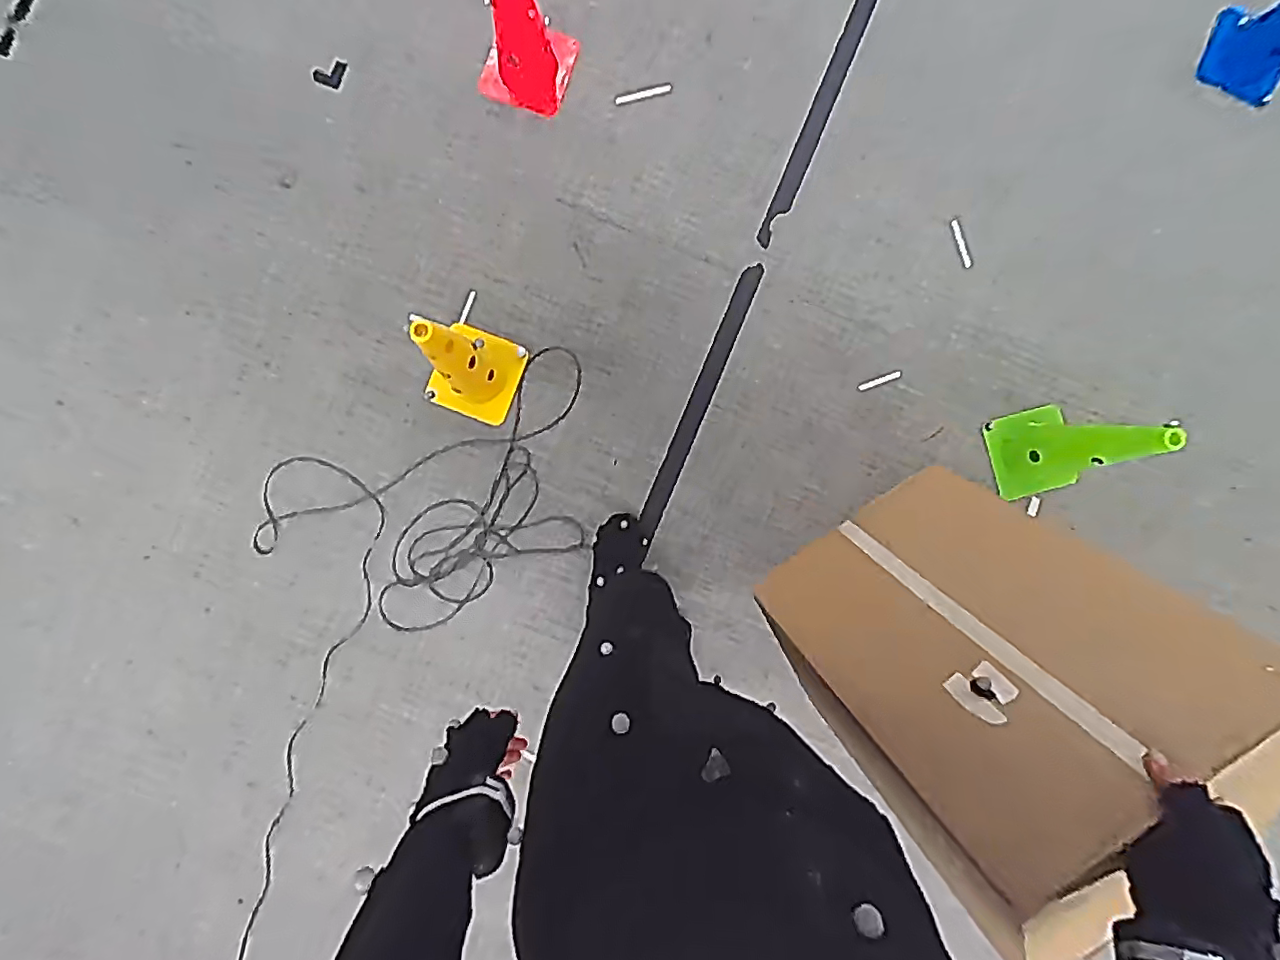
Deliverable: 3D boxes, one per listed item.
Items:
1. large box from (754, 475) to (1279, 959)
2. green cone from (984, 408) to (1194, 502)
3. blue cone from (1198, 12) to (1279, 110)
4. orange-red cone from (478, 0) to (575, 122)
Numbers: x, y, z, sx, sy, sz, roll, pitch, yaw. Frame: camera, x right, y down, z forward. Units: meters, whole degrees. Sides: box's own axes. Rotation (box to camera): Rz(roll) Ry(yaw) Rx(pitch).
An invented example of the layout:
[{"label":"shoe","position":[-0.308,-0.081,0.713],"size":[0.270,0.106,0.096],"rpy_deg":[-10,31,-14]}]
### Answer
[{"label":"large box","position":[0.408,0.264,0.661],"size":[0.320,0.408,0.320],"rpy_deg":[-33,124,-3]},{"label":"green cone","position":[0.958,-0.062,1.143],"size":[0.202,0.368,0.200],"rpy_deg":[-16,90,-3]},{"label":"blue cone","position":[1.513,-1.047,1.193],"size":[0.192,0.380,0.193],"rpy_deg":[25,89,-2]},{"label":"orange-red cone","position":[-0.274,-0.983,1.138],"size":[0.198,0.360,0.199],"rpy_deg":[19,90,0]}]
